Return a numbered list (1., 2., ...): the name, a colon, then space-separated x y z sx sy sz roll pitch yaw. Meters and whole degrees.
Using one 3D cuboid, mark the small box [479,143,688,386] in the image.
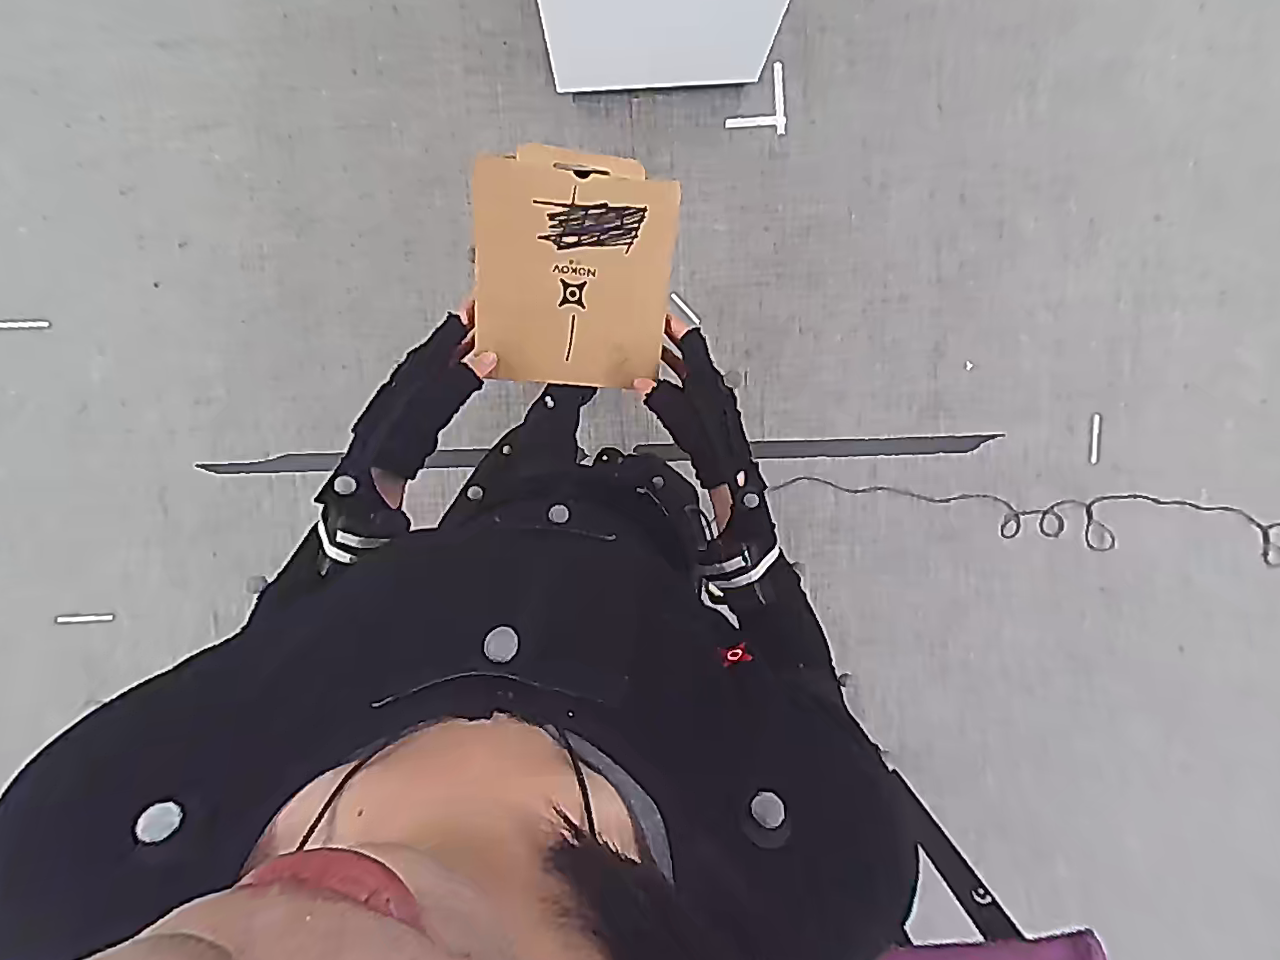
1. small box: -0.062 -0.201 0.530 0.168 0.176 0.179 4 110 -10
